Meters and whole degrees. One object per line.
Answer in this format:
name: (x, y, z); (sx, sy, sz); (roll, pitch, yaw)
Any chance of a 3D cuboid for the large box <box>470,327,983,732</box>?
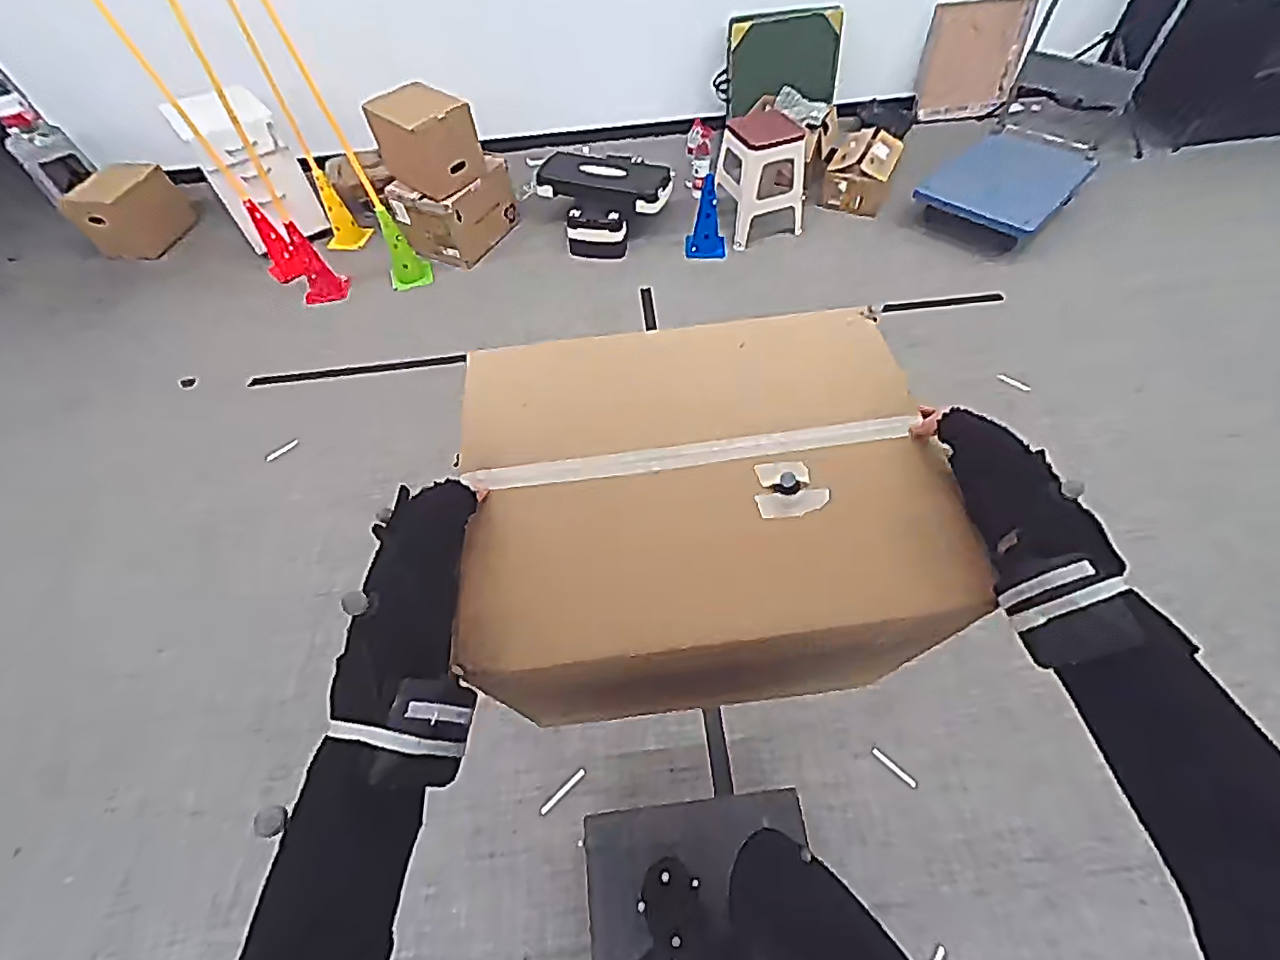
large box: (0.054, 0.071, 0.609); (0.408, 0.320, 0.320); (-7, 59, -2)
